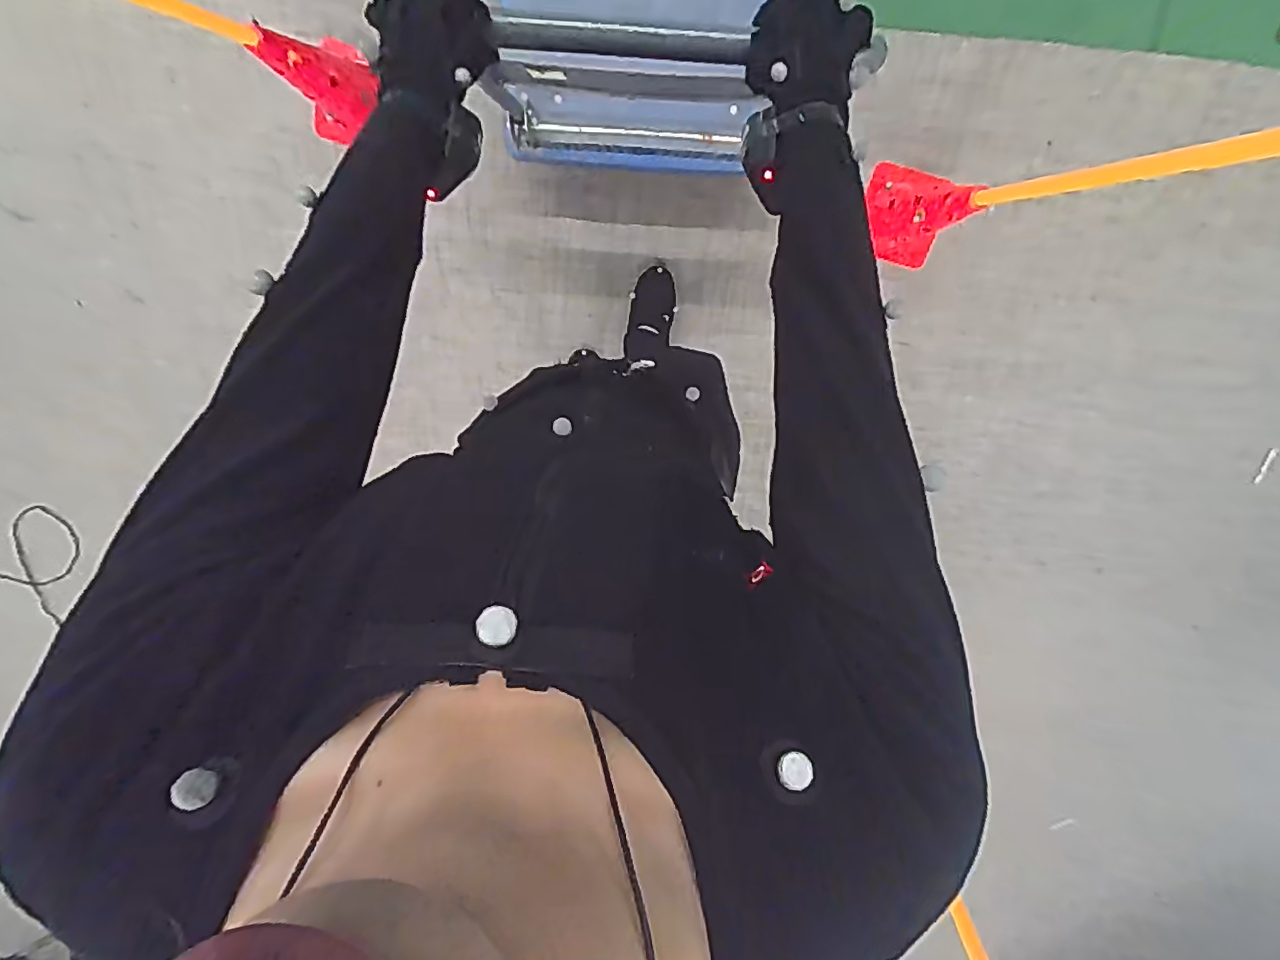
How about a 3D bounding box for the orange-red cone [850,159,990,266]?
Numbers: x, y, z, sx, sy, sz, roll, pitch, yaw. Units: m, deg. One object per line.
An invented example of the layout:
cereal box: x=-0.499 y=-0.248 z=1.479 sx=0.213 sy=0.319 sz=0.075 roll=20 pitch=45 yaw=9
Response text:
orange-red cone: x=0.612 y=-0.568 z=1.122 sx=0.198 sy=0.360 sz=0.199 roll=16 pitch=112 yaw=-3
